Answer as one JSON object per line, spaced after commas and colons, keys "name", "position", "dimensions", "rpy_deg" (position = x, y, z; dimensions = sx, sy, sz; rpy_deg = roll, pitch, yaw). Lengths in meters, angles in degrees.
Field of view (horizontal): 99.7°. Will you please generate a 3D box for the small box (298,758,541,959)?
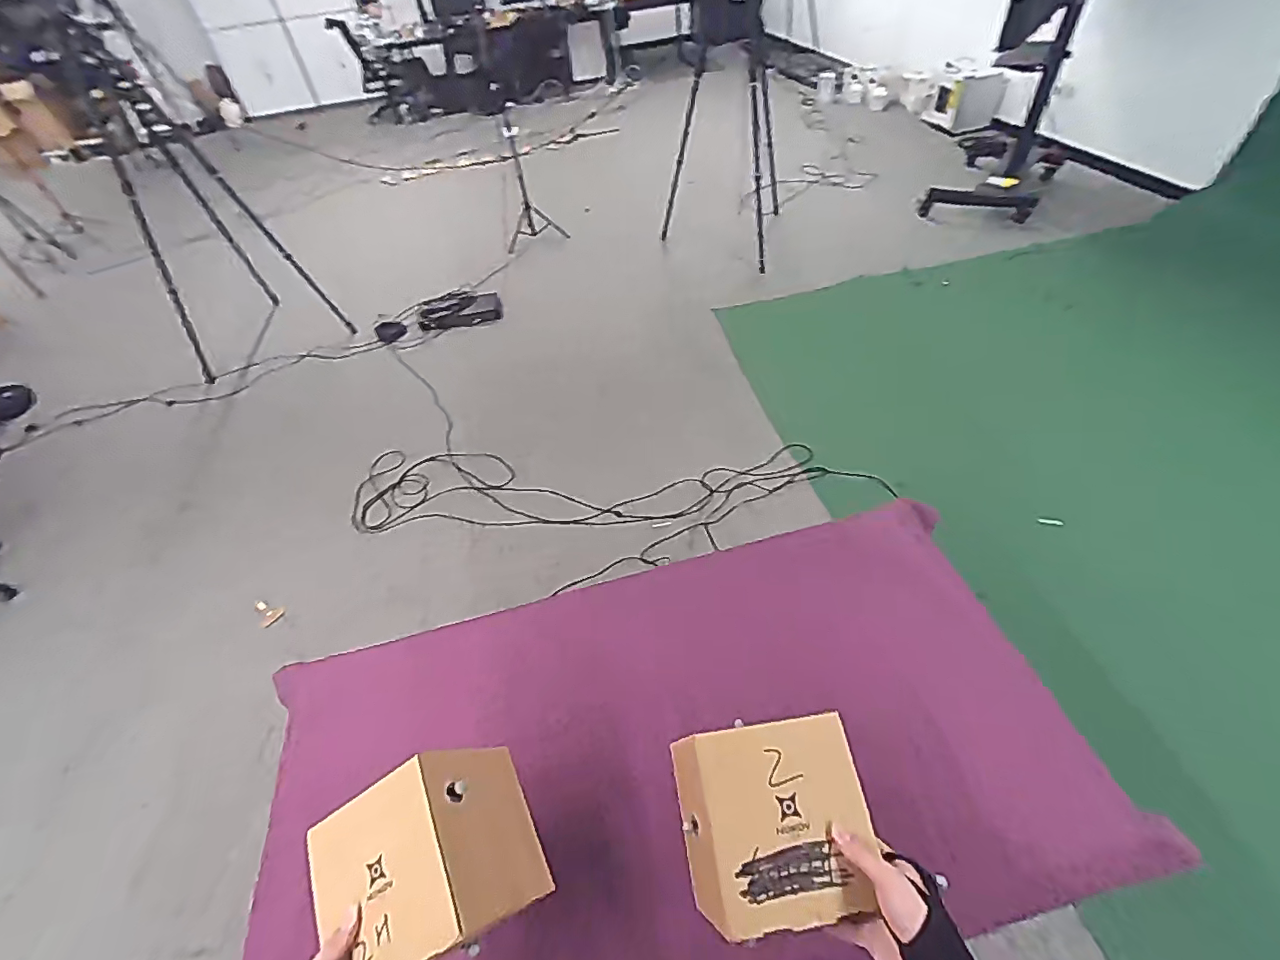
{"name": "small box", "position": [-0.241, 0.435, 0.605], "dimensions": [0.168, 0.176, 0.179], "rpy_deg": [-35, 59, 6]}
